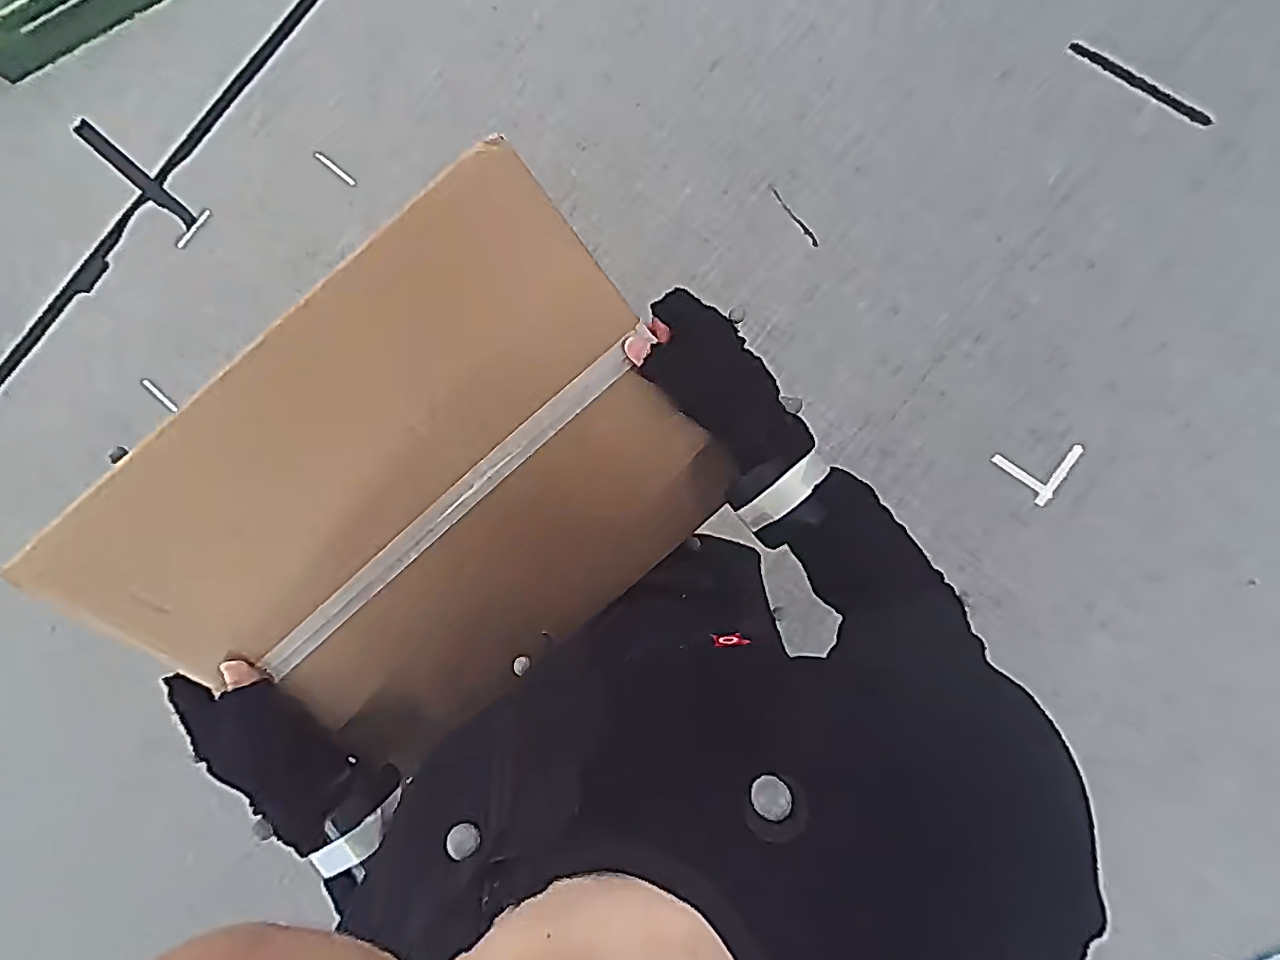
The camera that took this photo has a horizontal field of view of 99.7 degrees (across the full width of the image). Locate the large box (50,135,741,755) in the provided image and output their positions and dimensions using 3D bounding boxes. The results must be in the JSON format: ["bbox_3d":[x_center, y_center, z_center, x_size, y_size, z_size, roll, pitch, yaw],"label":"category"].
[{"bbox_3d":[-0.189,-0.035,0.541,0.408,0.320,0.320,-41,118,1],"label":"large box"}]
